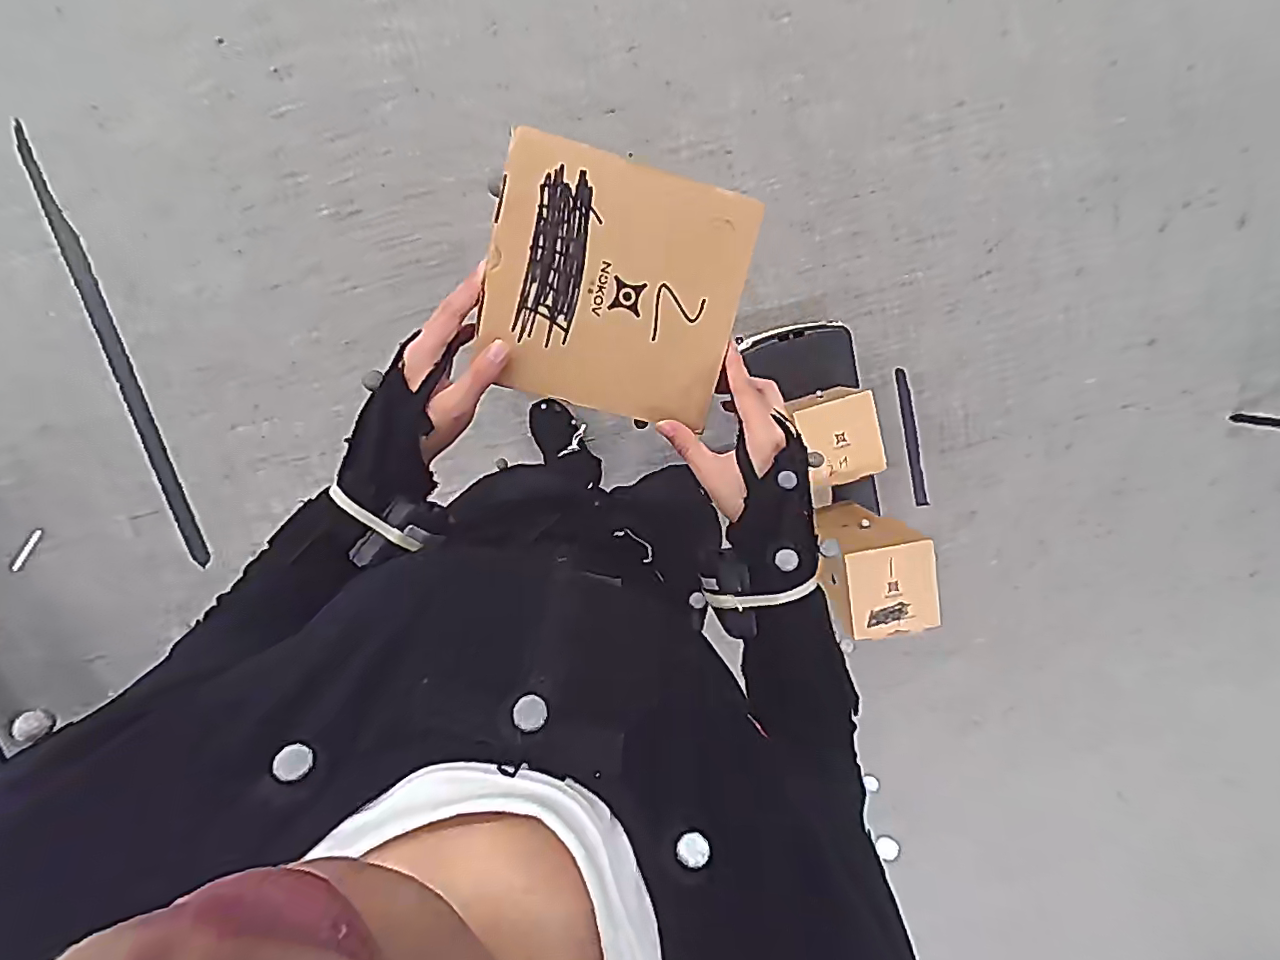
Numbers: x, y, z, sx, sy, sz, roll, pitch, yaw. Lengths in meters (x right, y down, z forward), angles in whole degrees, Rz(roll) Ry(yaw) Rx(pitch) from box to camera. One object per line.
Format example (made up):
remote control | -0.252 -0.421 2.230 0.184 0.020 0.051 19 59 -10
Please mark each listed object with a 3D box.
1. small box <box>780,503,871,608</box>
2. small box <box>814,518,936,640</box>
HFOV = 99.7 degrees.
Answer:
small box | 0.443 0.164 1.240 0.179 0.176 0.168 -16 102 2
small box | 0.461 0.190 1.077 0.168 0.176 0.179 -10 101 1
